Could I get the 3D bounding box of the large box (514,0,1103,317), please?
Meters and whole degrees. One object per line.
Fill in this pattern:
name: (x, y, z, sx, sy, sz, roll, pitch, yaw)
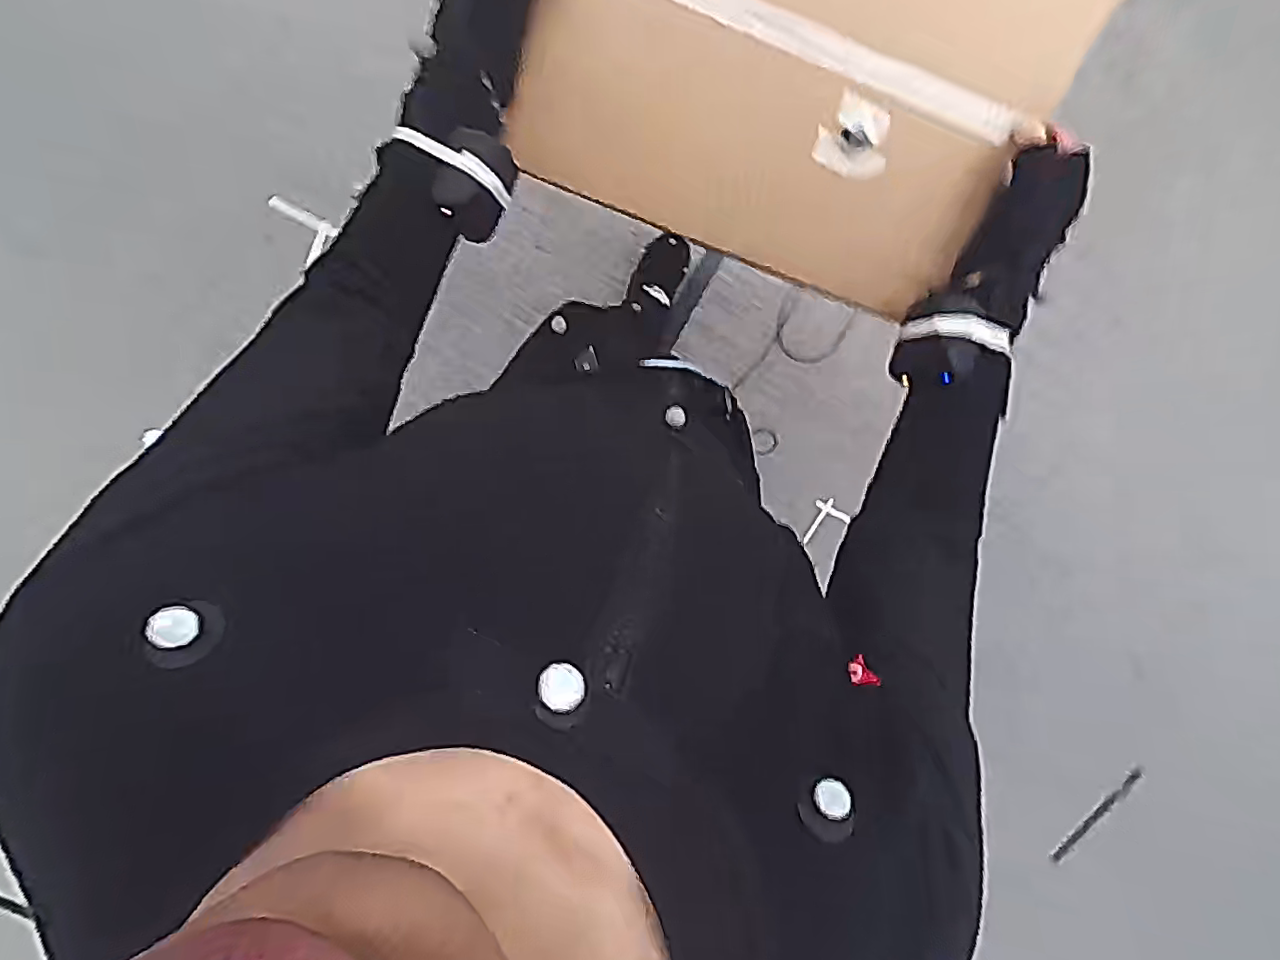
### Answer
large box: (0.130, -0.404, 0.553, 0.408, 0.320, 0.320, 19, 116, -7)
